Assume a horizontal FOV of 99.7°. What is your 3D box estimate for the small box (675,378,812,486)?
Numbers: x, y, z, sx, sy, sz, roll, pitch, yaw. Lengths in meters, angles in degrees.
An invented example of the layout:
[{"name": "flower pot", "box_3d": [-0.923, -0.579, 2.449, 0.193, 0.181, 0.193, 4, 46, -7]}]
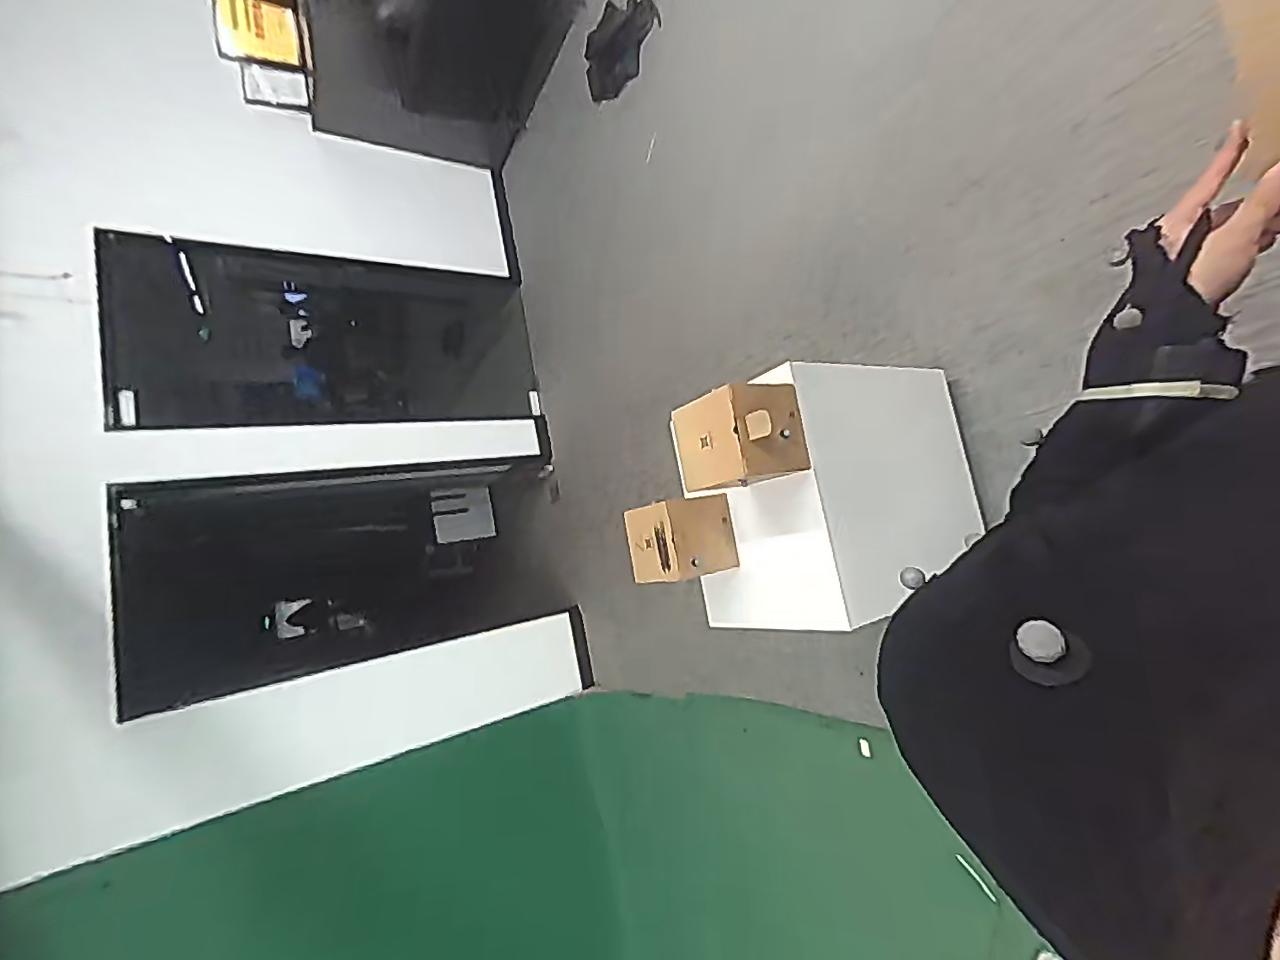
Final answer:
[{"name": "small box", "box_3d": [0.193, -0.086, 1.027, 0.179, 0.176, 0.168, -20, 78, 57]}]
